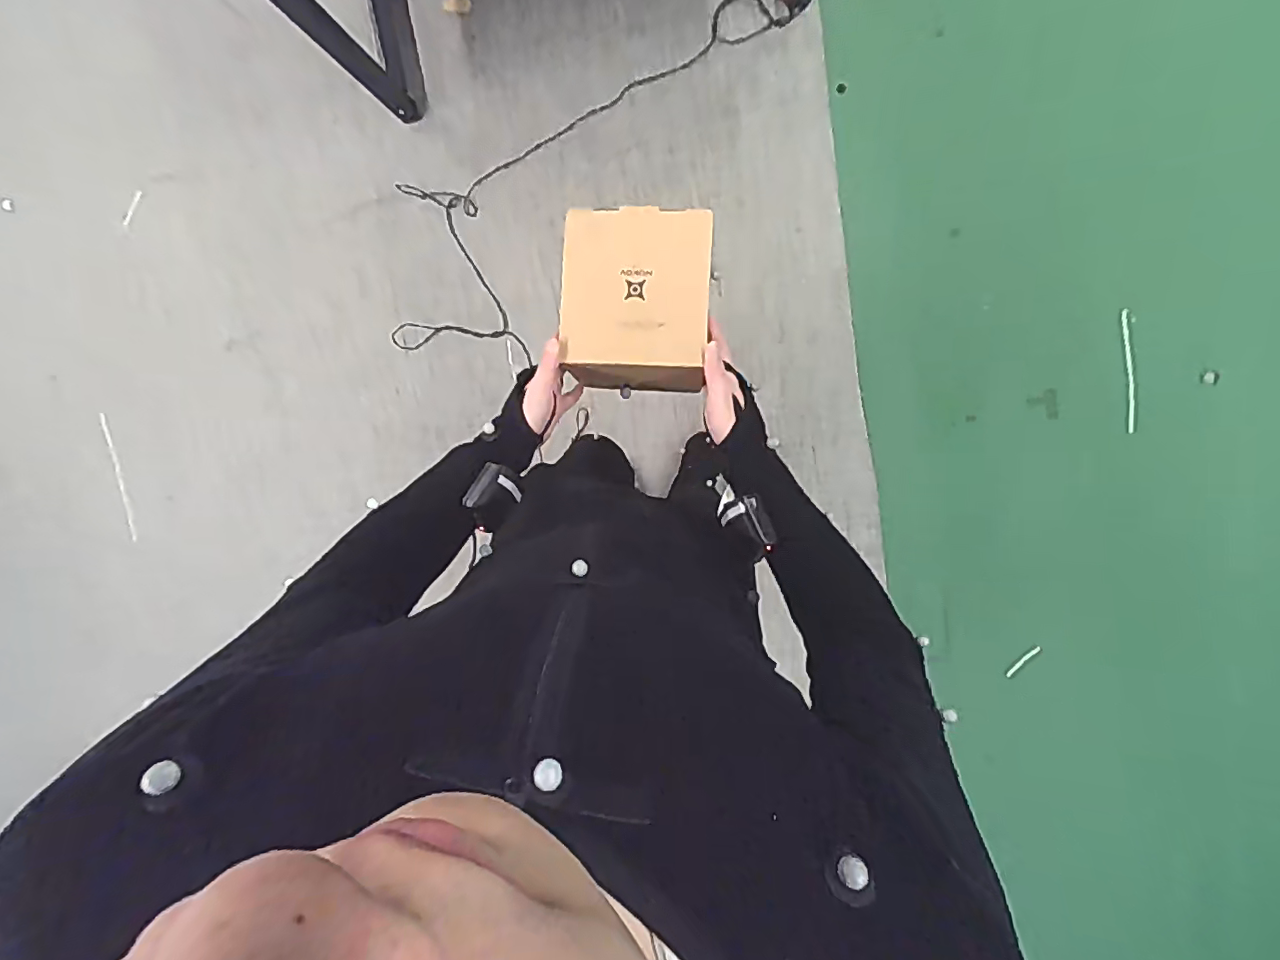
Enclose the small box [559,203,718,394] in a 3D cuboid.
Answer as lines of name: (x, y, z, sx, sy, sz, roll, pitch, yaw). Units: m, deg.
small box: (0.002, -0.210, 0.664, 0.168, 0.176, 0.179, 3, 90, 4)
